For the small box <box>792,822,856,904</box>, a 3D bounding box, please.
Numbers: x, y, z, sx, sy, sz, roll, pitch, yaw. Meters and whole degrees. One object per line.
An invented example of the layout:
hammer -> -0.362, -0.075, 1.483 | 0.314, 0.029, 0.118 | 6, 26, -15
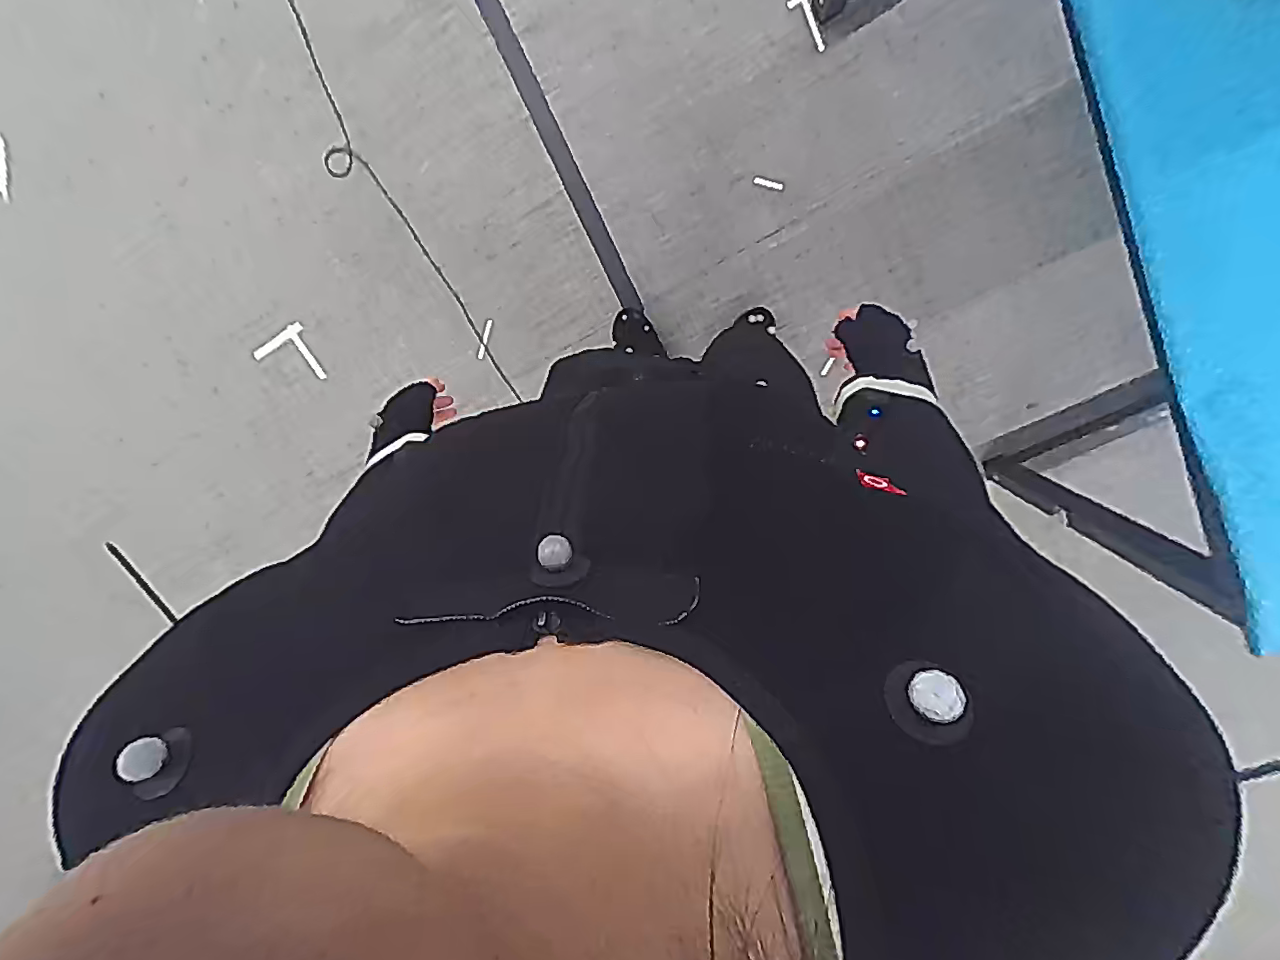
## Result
small box -> 0.613, 1.270, 1.800 | 0.179, 0.176, 0.168 | -8, 109, 11

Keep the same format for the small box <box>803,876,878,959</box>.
small box -> 0.609, 1.347, 1.652 | 0.179, 0.176, 0.168 | -10, 107, 11
